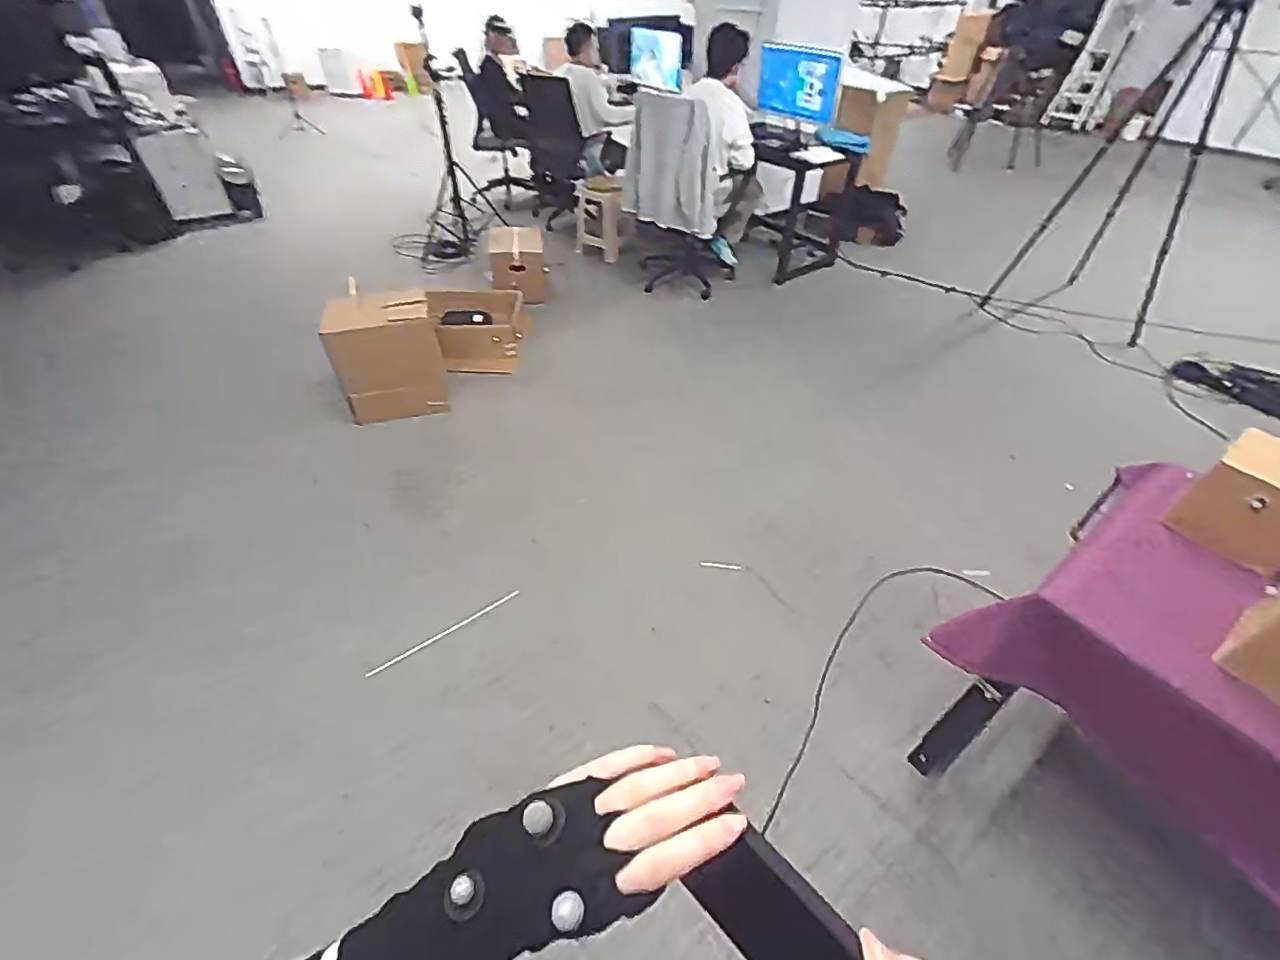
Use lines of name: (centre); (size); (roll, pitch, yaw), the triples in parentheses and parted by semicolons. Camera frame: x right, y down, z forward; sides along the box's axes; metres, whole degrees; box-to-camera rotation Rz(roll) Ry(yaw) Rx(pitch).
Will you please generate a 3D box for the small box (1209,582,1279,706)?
small box: (1.004, 0.241, 0.781); (0.168, 0.176, 0.179); (-24, 50, -25)
